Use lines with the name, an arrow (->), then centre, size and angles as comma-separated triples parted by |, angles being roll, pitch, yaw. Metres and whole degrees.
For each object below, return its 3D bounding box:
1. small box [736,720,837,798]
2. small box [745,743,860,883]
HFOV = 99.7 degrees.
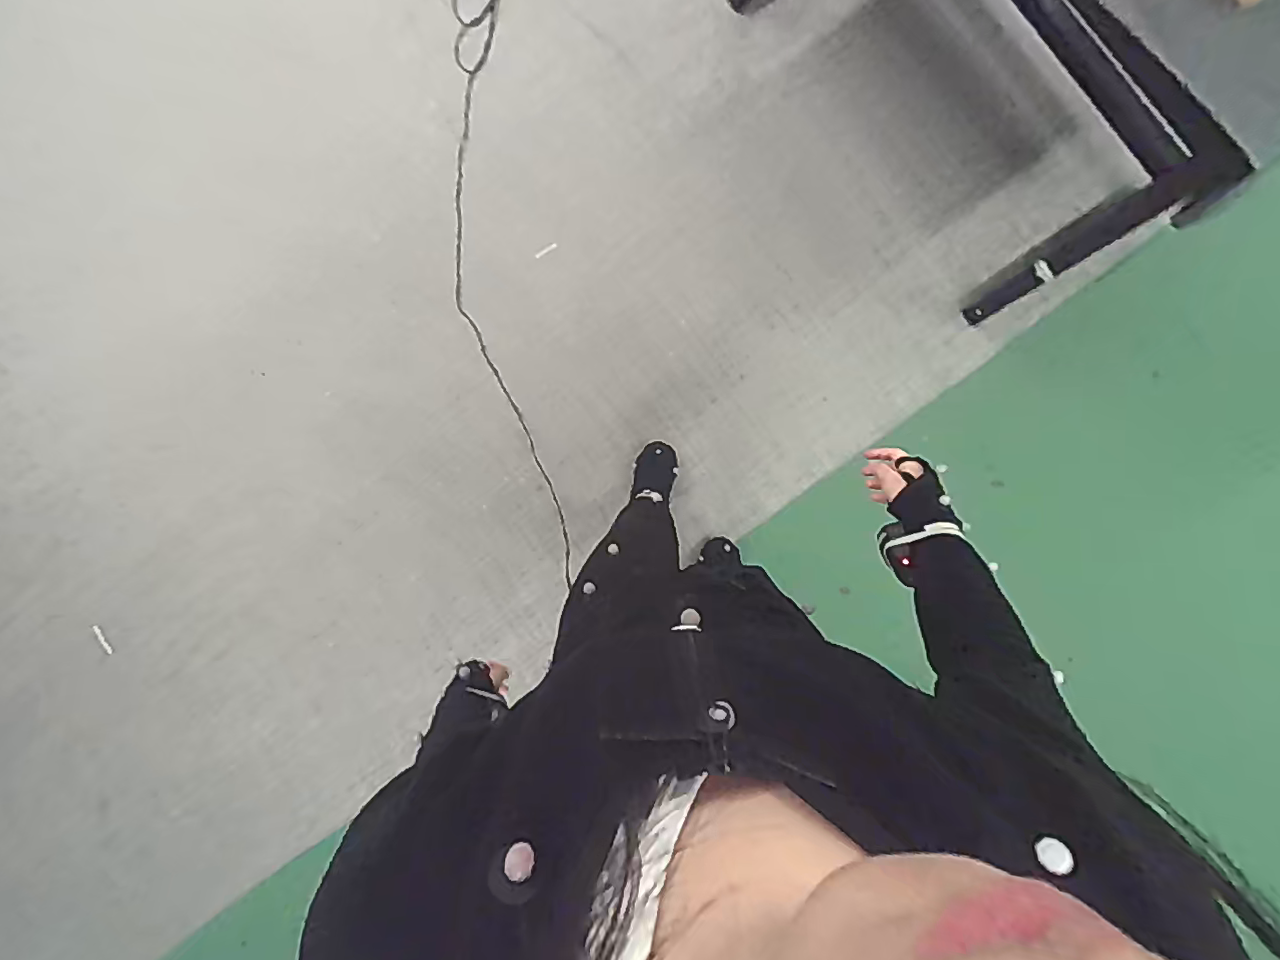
small box -> 0.364, 0.745, 1.384 | 0.168, 0.176, 0.179 | -35, 87, 2
small box -> 0.356, 0.738, 1.219 | 0.168, 0.176, 0.179 | -33, 86, 2
